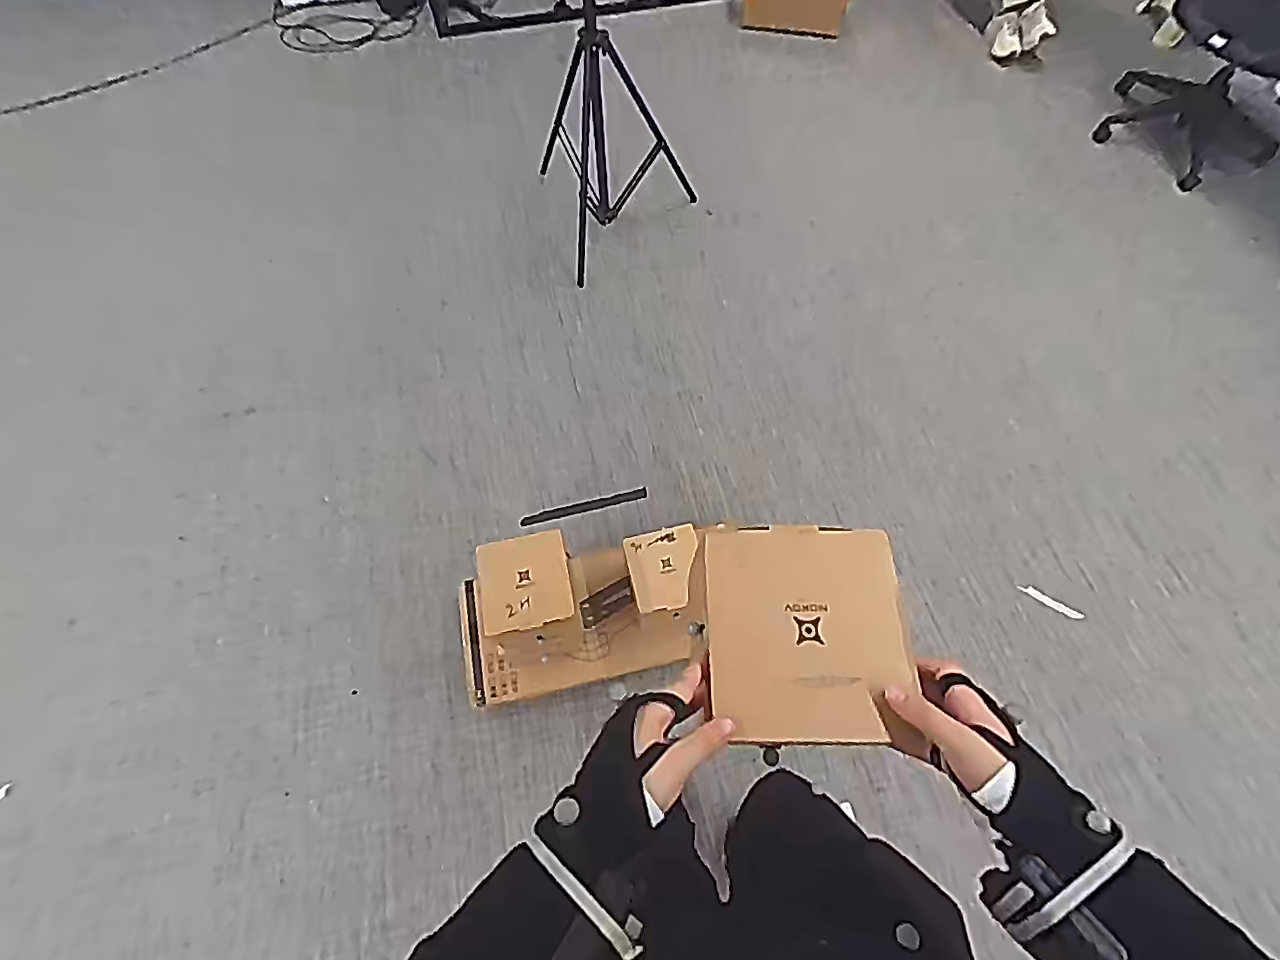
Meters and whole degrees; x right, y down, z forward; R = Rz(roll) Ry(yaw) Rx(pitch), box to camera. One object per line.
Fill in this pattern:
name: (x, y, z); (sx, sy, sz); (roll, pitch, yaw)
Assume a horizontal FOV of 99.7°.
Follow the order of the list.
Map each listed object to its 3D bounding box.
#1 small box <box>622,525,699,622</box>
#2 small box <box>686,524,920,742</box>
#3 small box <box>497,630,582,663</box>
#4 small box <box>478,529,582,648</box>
small box: (0.059, 0.226, 1.258); (0.168, 0.176, 0.179); (-13, 66, -3)
small box: (0.134, 0.154, 0.523); (0.168, 0.176, 0.179); (0, 64, 0)
small box: (-0.231, 0.301, 1.224); (0.168, 0.176, 0.179); (-13, 67, -6)
small box: (-0.214, 0.221, 1.079); (0.168, 0.176, 0.179); (-12, 66, -5)
